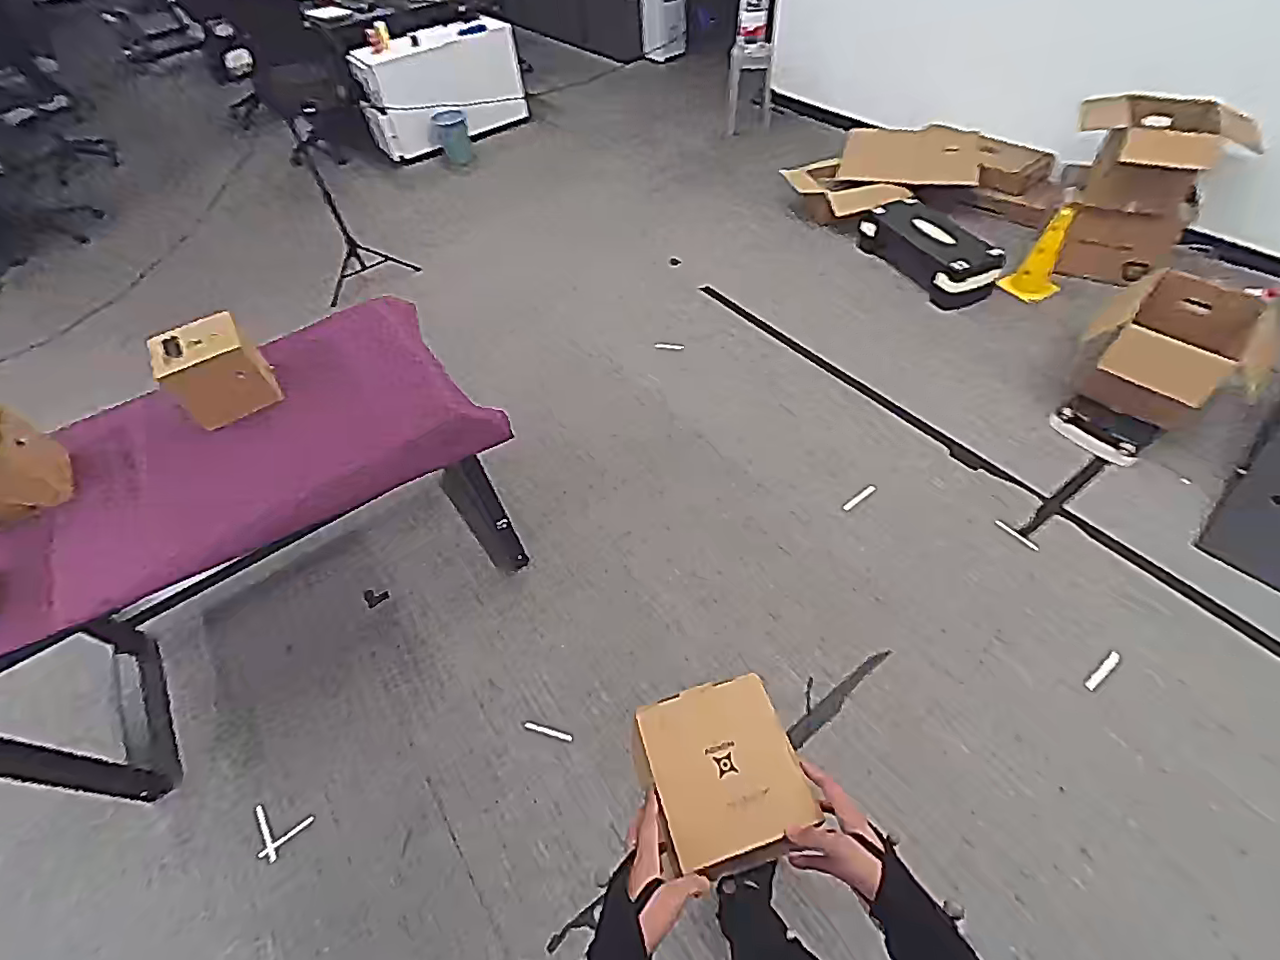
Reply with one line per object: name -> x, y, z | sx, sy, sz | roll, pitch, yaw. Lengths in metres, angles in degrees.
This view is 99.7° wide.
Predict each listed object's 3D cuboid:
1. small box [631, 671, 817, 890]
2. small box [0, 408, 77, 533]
small box -> 0.087, 0.374, 0.676 | 0.168, 0.176, 0.179 | -12, 48, -13
small box -> -1.344, -0.012, 1.134 | 0.168, 0.176, 0.179 | -33, 56, -19
